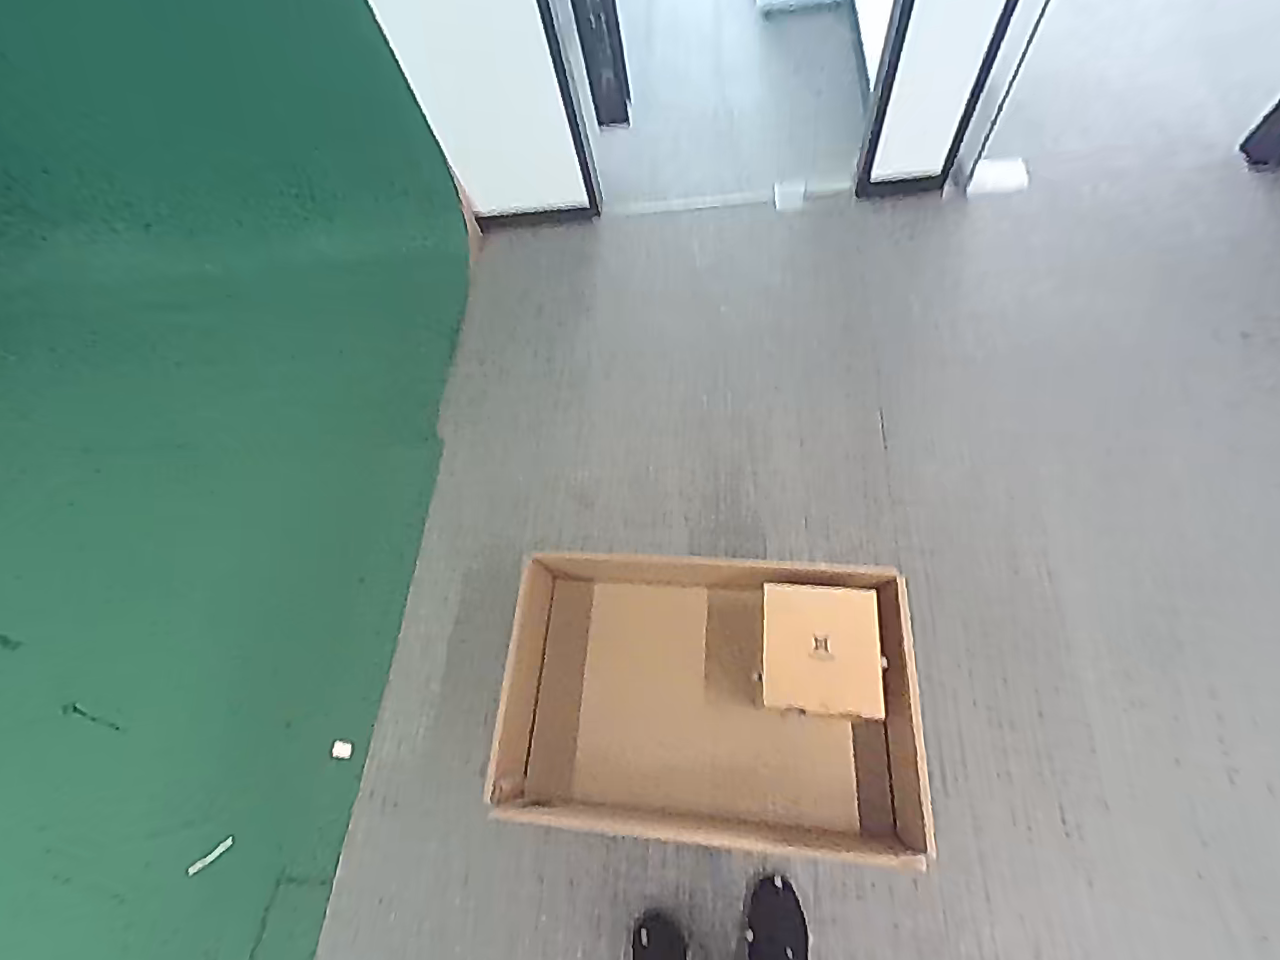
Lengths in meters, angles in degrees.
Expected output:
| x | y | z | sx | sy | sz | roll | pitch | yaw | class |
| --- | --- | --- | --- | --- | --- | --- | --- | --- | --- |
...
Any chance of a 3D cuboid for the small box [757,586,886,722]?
| x | y | z | sx | sy | sz | roll | pitch | yaw | class |
| --- | --- | --- | --- | --- | --- | --- | --- | --- | --- |
| 0.275 | 0.278 | 0.854 | 0.168 | 0.176 | 0.179 | 2 | 67 | 9 | small box |
